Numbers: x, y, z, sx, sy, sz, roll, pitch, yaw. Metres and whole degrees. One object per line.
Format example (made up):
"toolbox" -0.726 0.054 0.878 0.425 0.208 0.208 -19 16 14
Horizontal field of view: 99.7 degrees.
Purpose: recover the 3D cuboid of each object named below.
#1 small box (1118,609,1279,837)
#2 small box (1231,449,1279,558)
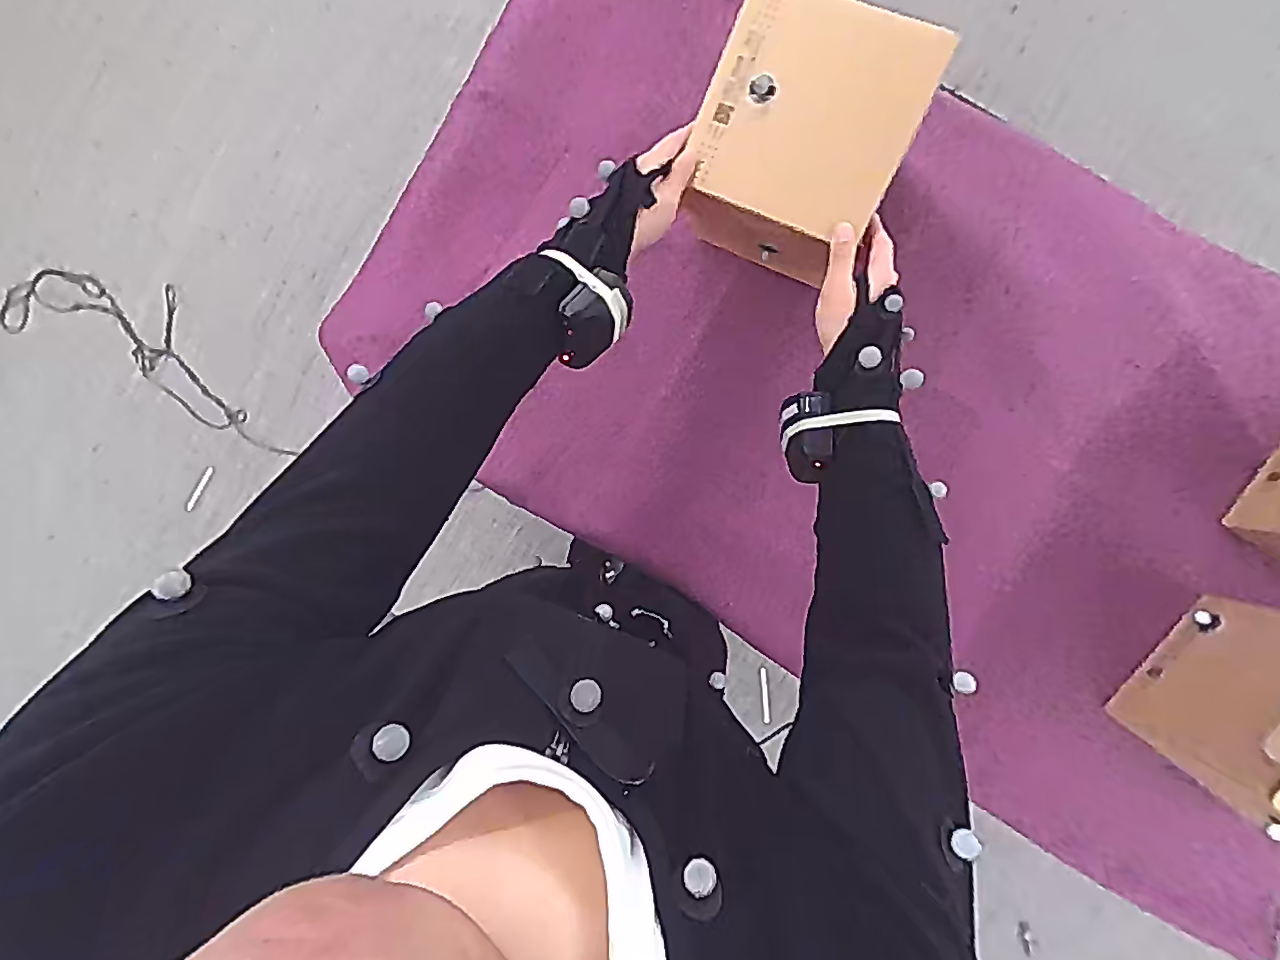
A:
"small box" 0.613 0.238 0.494 0.179 0.176 0.168 38 94 4
"small box" 0.721 0.029 0.477 0.179 0.176 0.168 32 95 4
